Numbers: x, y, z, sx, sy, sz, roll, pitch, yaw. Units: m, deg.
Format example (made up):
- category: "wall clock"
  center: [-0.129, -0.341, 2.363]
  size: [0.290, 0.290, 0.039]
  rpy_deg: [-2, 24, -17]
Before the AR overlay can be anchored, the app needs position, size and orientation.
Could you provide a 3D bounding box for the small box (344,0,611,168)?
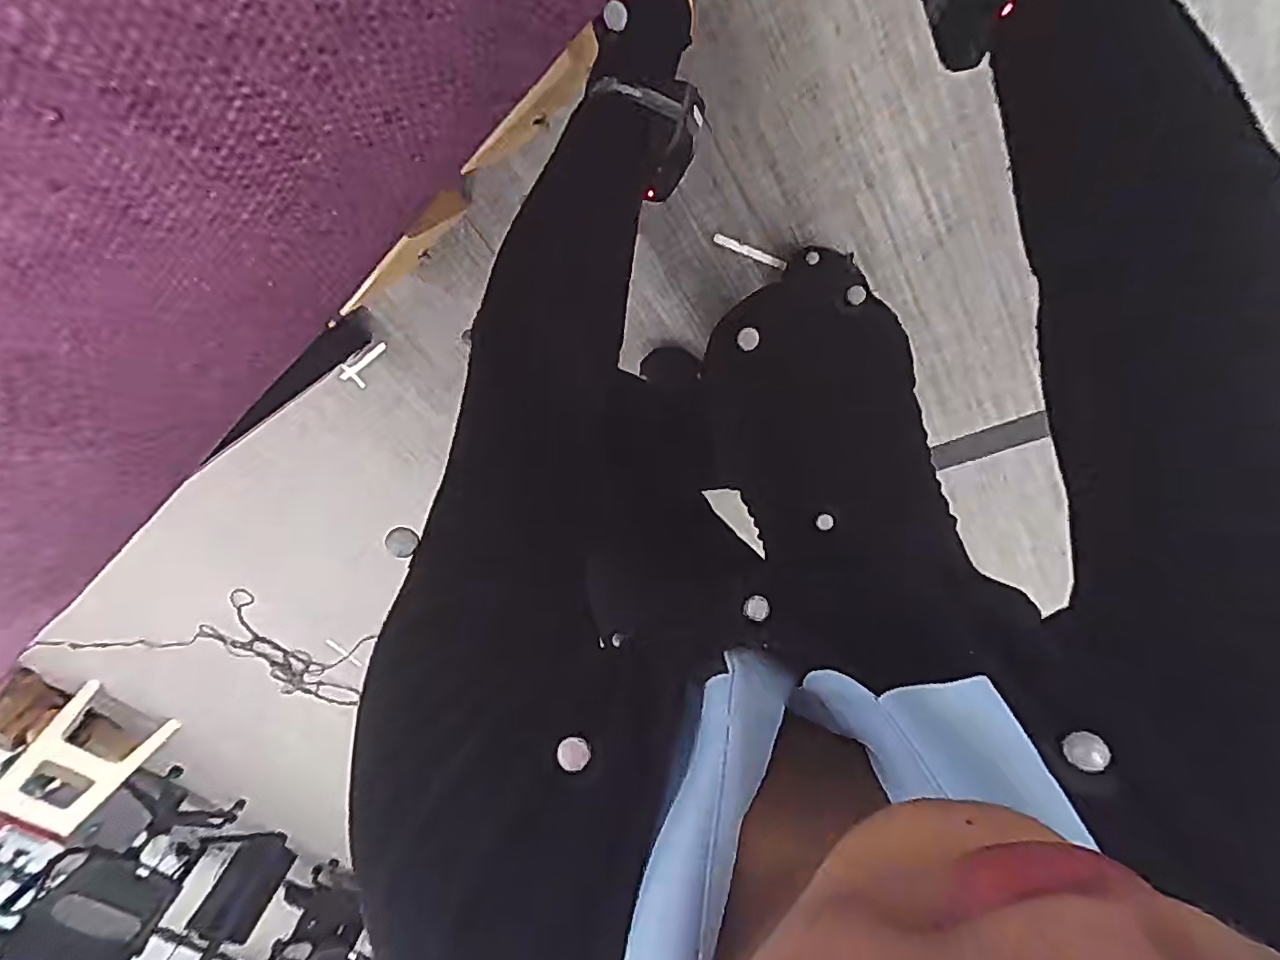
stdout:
- category: "small box"
  center: [-0.152, -0.468, 0.562]
  size: [0.168, 0.176, 0.179]
  rpy_deg: [-23, 119, 28]
